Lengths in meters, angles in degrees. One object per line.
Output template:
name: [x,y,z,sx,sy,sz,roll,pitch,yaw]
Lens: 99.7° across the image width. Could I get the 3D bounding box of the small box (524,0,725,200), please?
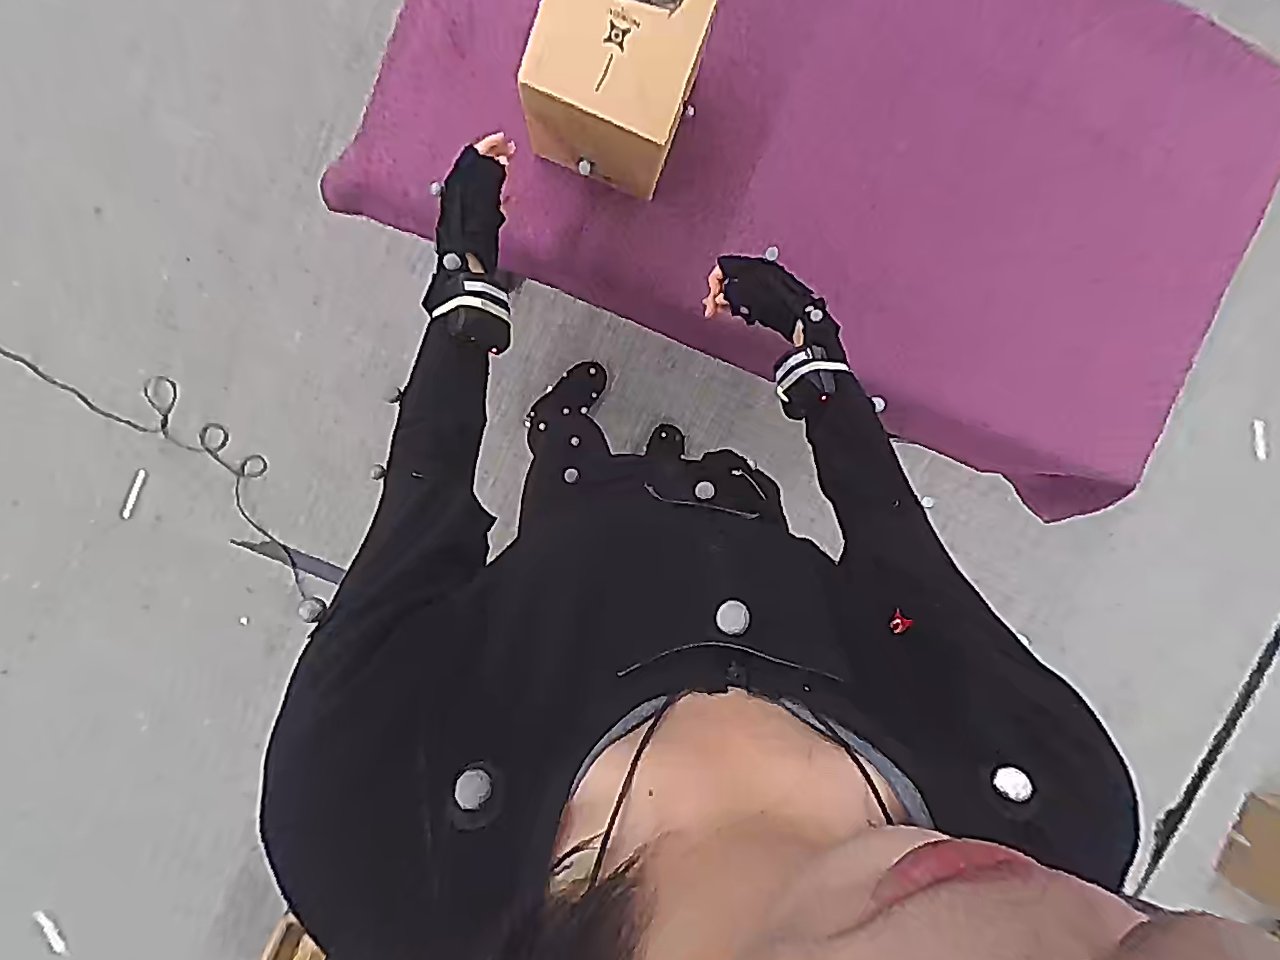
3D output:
small box: [-0.022,-0.470,0.633,0.168,0.176,0.179,20,96,-7]
